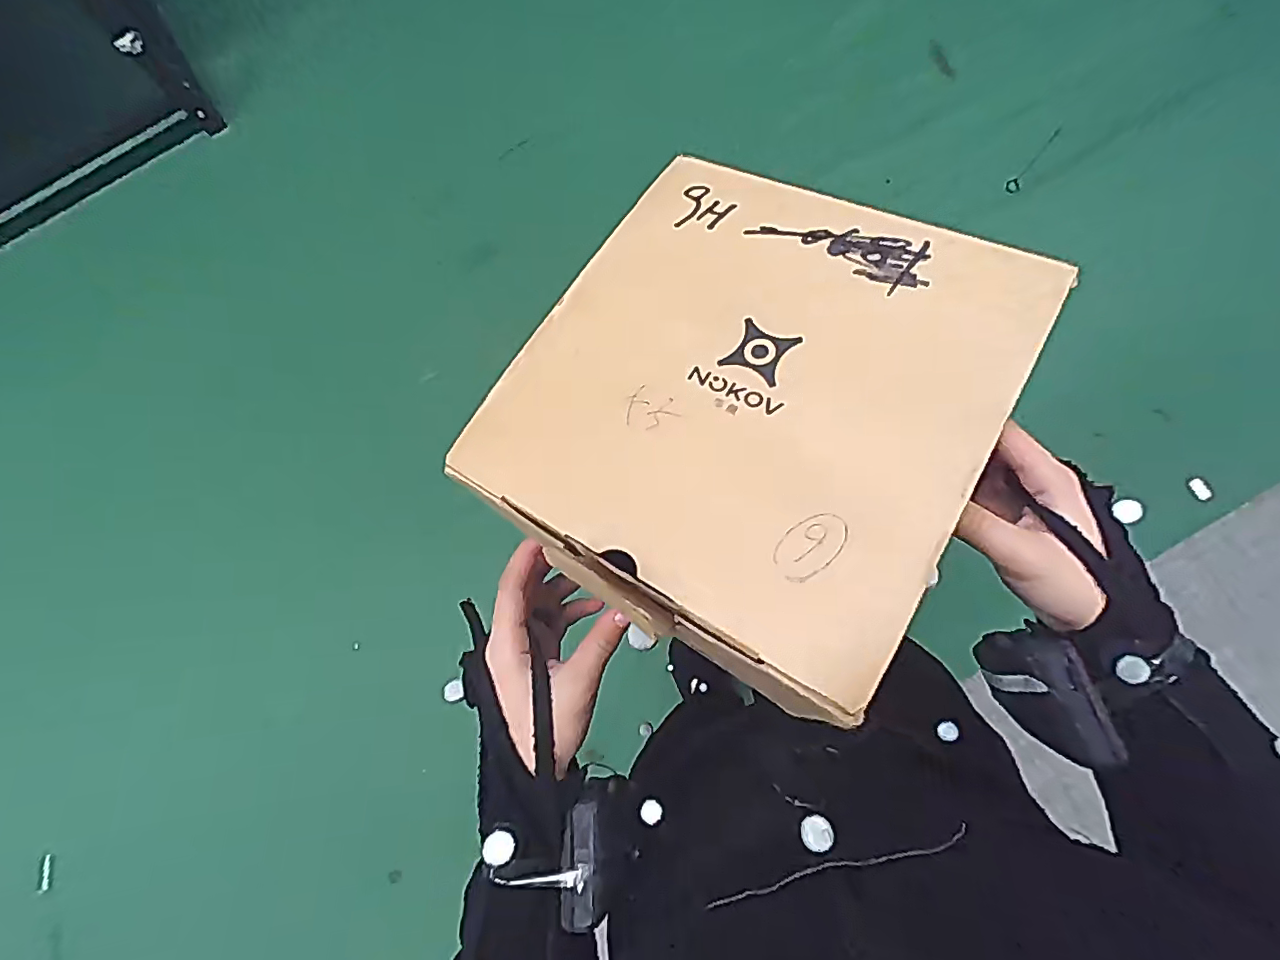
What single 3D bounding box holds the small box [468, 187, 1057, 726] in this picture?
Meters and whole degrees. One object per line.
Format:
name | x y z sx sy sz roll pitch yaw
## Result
small box | 0.056 -0.002 0.279 0.168 0.176 0.179 28 76 20
